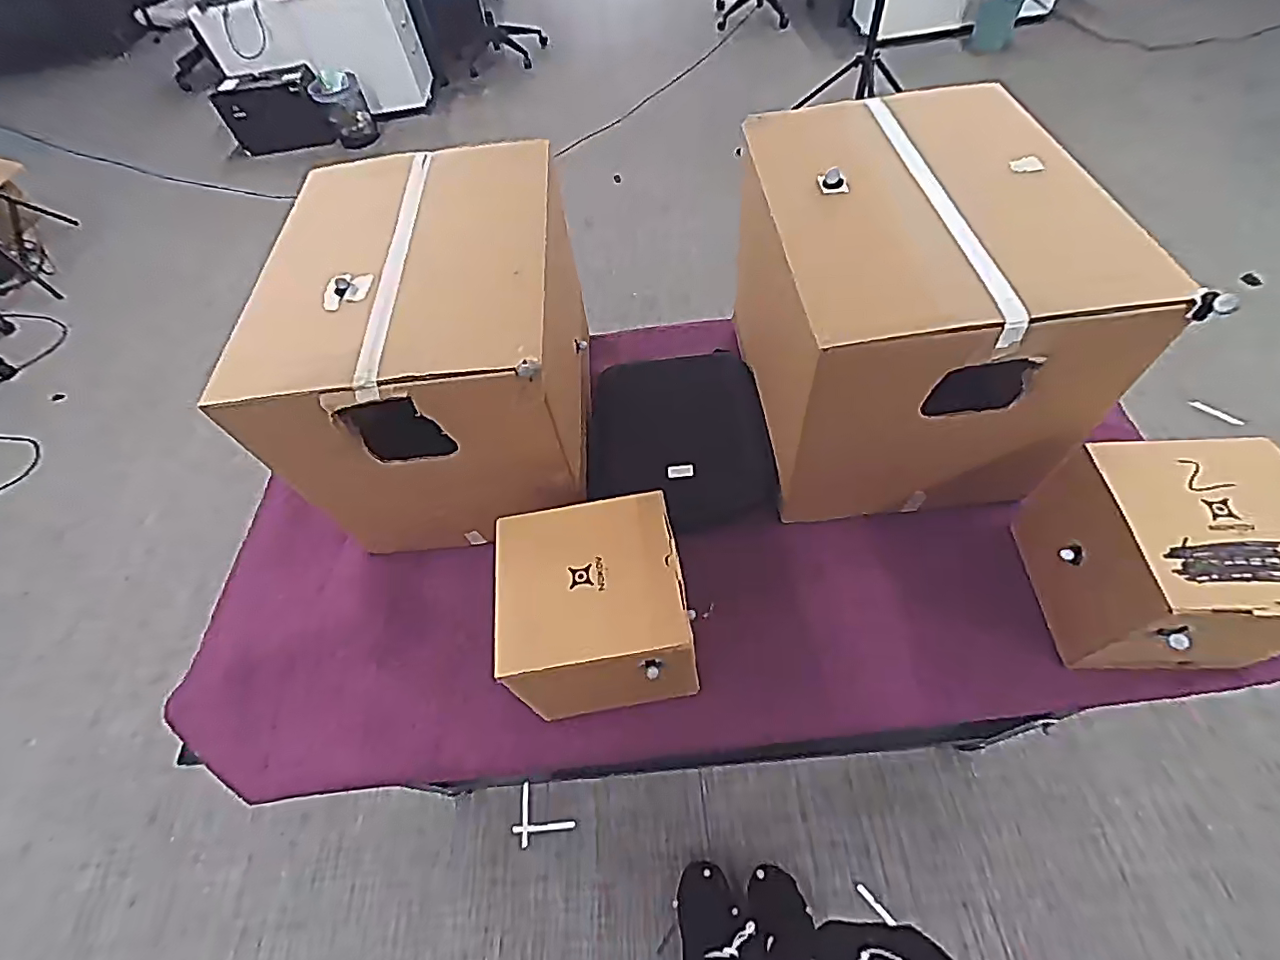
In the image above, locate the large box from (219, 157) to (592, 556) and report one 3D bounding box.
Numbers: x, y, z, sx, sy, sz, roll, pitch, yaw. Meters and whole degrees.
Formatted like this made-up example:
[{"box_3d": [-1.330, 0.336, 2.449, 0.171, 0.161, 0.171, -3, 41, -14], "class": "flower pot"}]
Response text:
[{"box_3d": [-0.244, -0.154, 0.720, 0.320, 0.320, 0.408, -7, 58, 2], "class": "large box"}]
